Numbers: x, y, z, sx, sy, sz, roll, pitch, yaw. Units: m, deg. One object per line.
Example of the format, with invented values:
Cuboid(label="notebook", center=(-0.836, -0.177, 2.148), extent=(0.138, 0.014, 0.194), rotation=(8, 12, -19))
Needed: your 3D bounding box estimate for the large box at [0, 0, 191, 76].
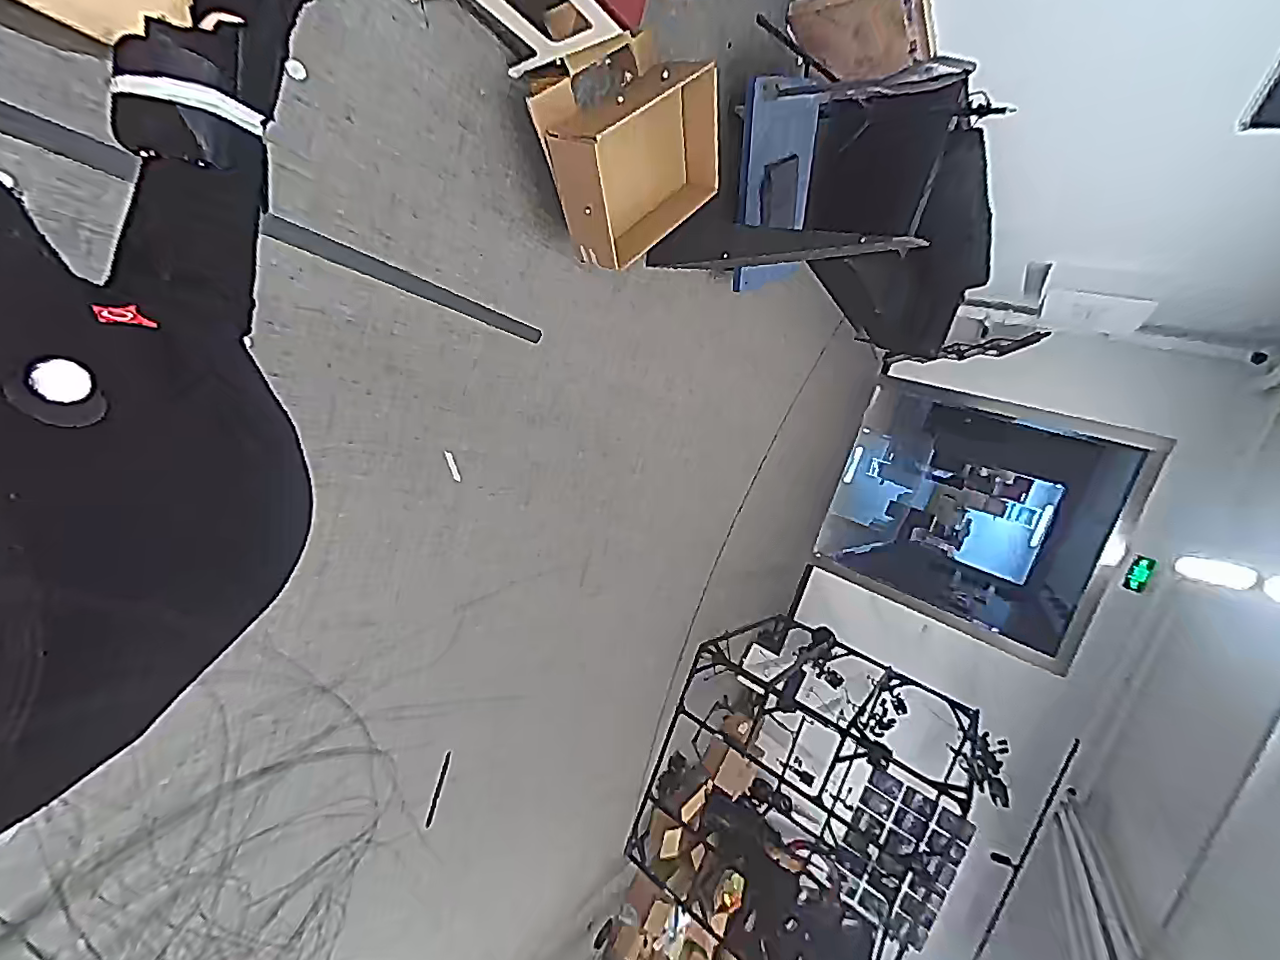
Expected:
Cuboid(label="large box", center=(-0.485, -0.469, 0.234), extent=(0.408, 0.320, 0.320), rotation=(-3, 119, -60))
